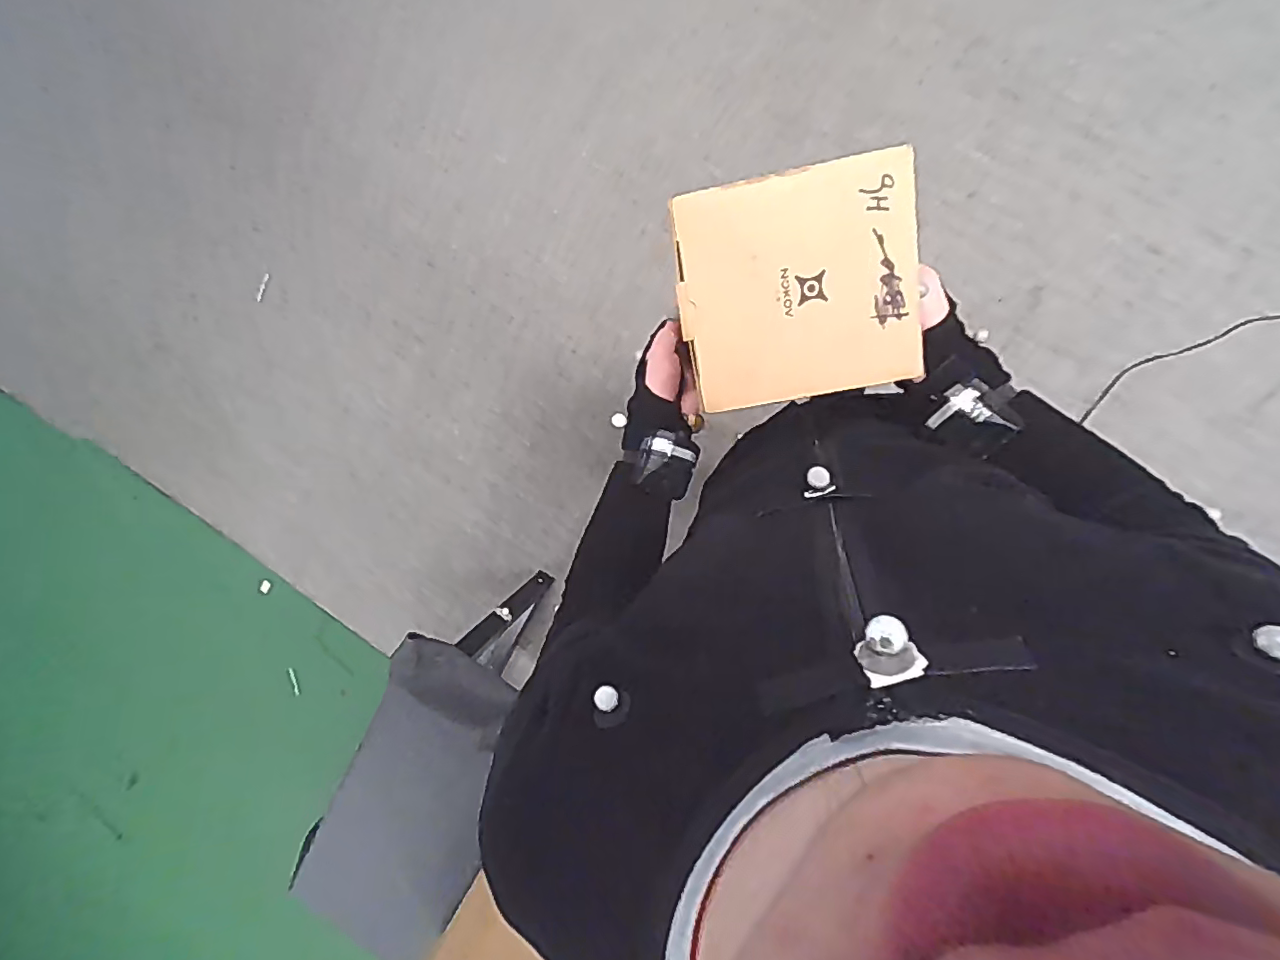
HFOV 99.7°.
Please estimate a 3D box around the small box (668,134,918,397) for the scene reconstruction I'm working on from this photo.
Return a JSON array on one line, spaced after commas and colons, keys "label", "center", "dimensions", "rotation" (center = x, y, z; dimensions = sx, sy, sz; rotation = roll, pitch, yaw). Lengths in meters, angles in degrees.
[{"label": "small box", "center": [0.126, -0.177, 0.487], "dimensions": [0.179, 0.176, 0.168], "rotation": [-8, 106, 8]}]
